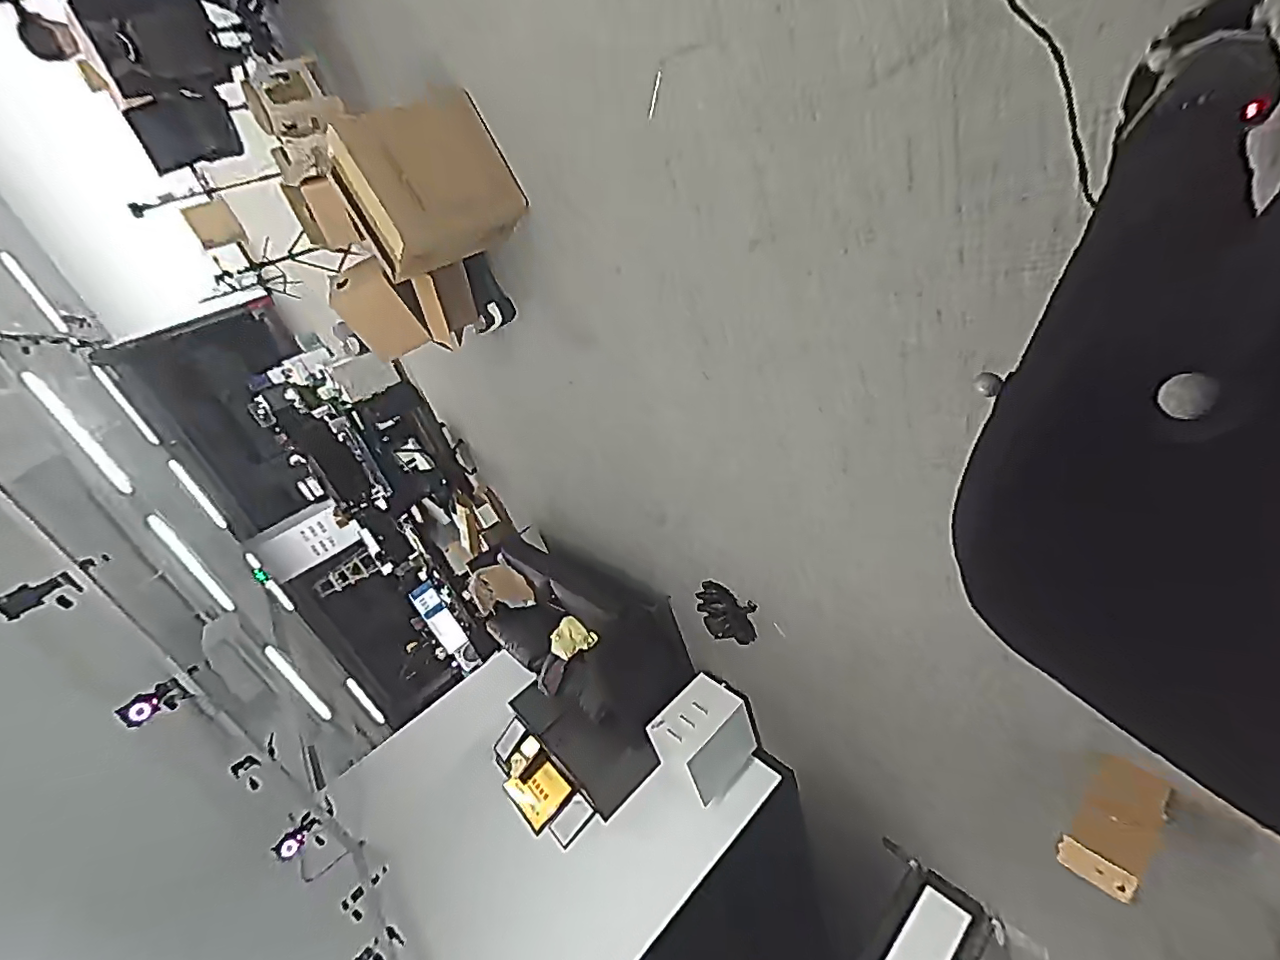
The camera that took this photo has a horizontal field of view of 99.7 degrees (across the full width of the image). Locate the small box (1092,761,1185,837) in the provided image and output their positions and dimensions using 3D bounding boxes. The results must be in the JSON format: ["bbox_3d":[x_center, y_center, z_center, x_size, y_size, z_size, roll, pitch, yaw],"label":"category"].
[{"bbox_3d":[1.533,1.010,1.675,0.179,0.176,0.168,20,138,46],"label":"small box"}]

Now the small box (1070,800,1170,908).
[{"bbox_3d":[1.416,1.092,1.600,0.179,0.176,0.168,19,135,47],"label":"small box"}]
